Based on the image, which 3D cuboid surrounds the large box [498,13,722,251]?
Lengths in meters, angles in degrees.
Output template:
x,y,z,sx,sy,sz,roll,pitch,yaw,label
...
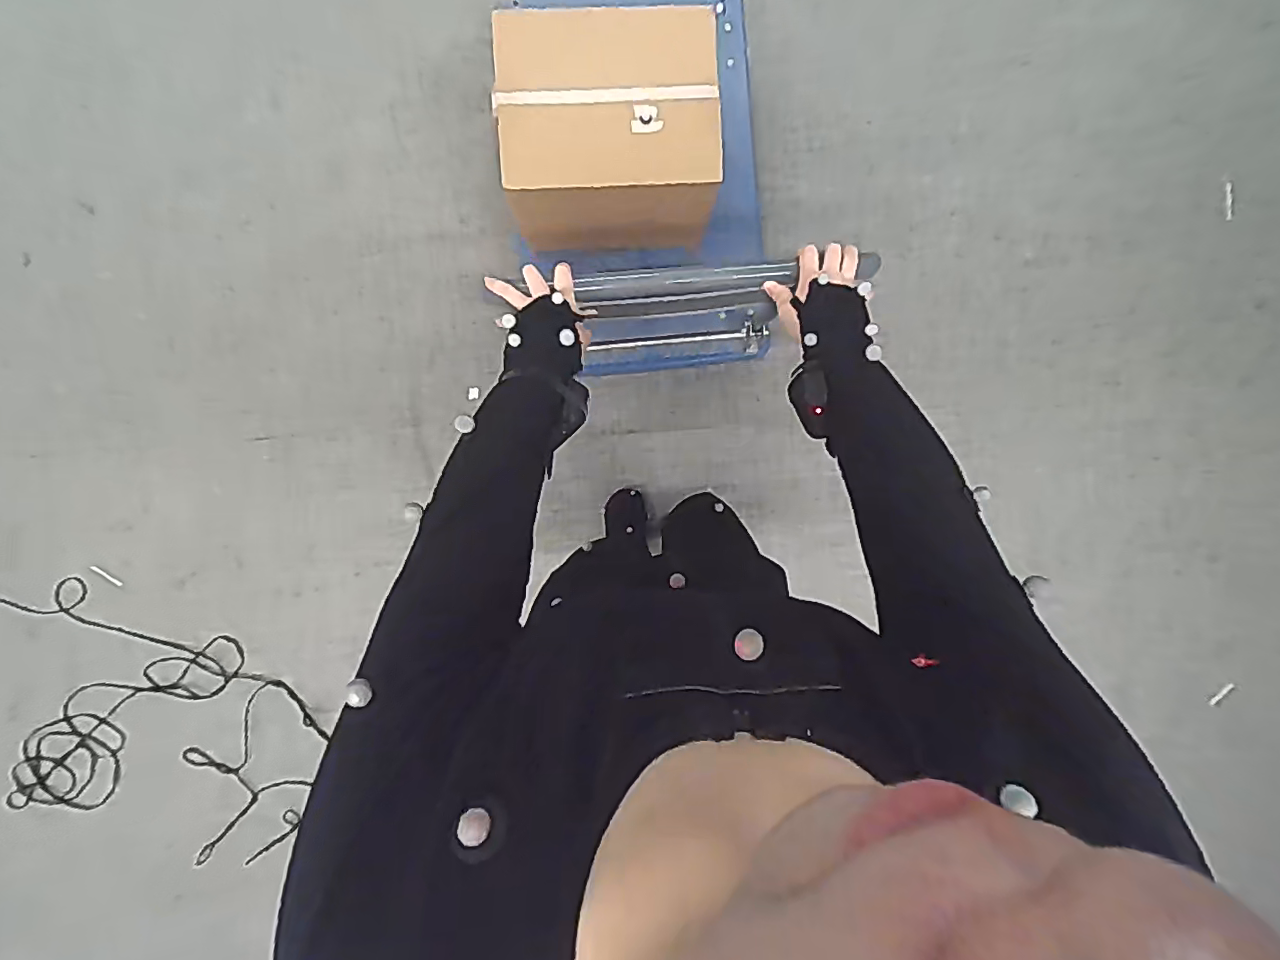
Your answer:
x,y,z,sx,sy,sz,roll,pitch,yaw,label
-0.061,-0.705,1.148,0.408,0.320,0.320,-3,93,-3,large box
